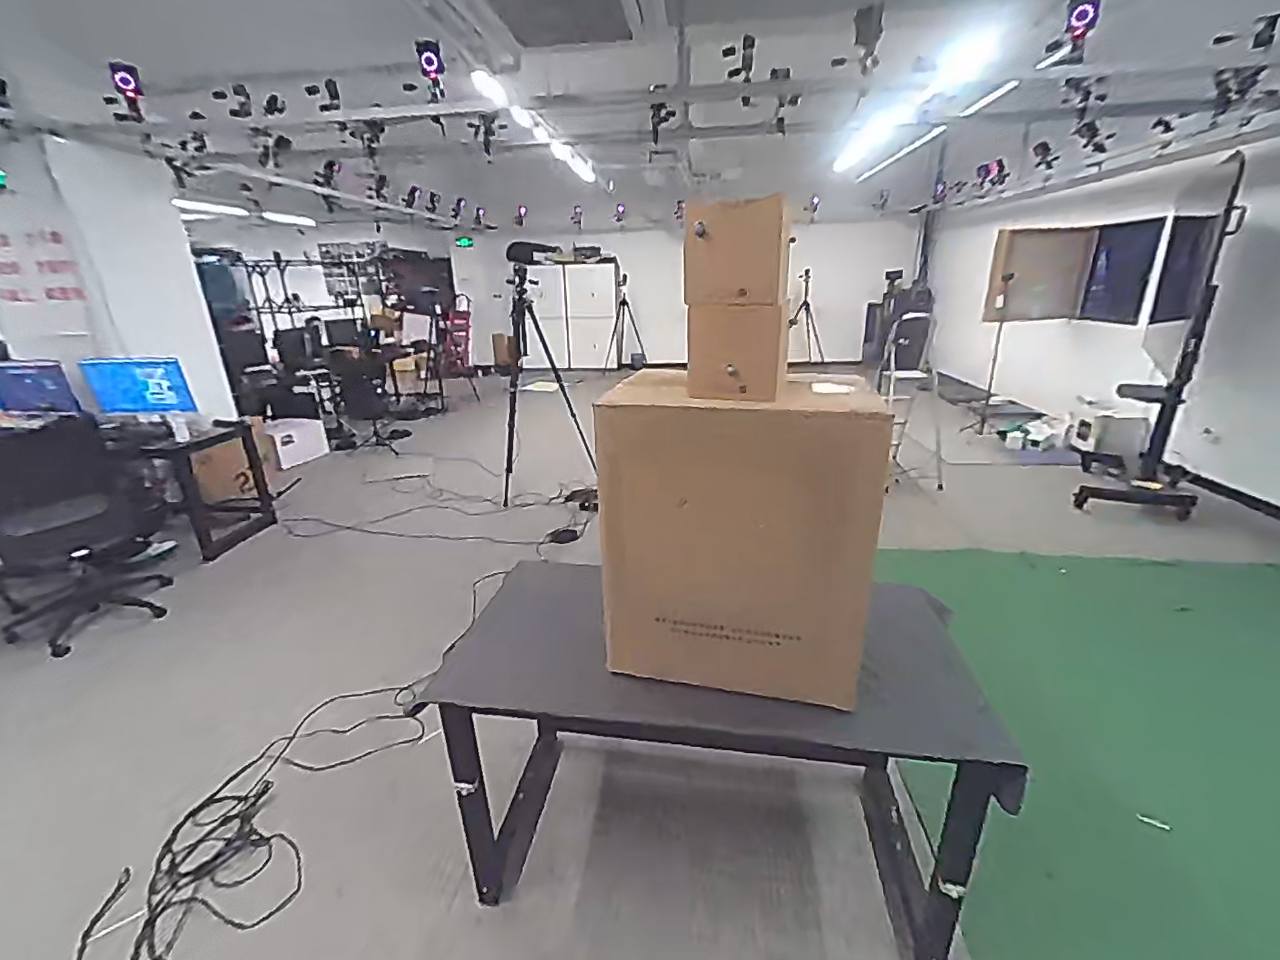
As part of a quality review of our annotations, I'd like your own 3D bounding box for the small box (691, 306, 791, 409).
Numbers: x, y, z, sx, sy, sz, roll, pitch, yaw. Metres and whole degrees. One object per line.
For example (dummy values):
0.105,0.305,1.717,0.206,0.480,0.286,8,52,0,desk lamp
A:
0.195,-0.243,1.048,0.168,0.176,0.179,6,23,18,small box
